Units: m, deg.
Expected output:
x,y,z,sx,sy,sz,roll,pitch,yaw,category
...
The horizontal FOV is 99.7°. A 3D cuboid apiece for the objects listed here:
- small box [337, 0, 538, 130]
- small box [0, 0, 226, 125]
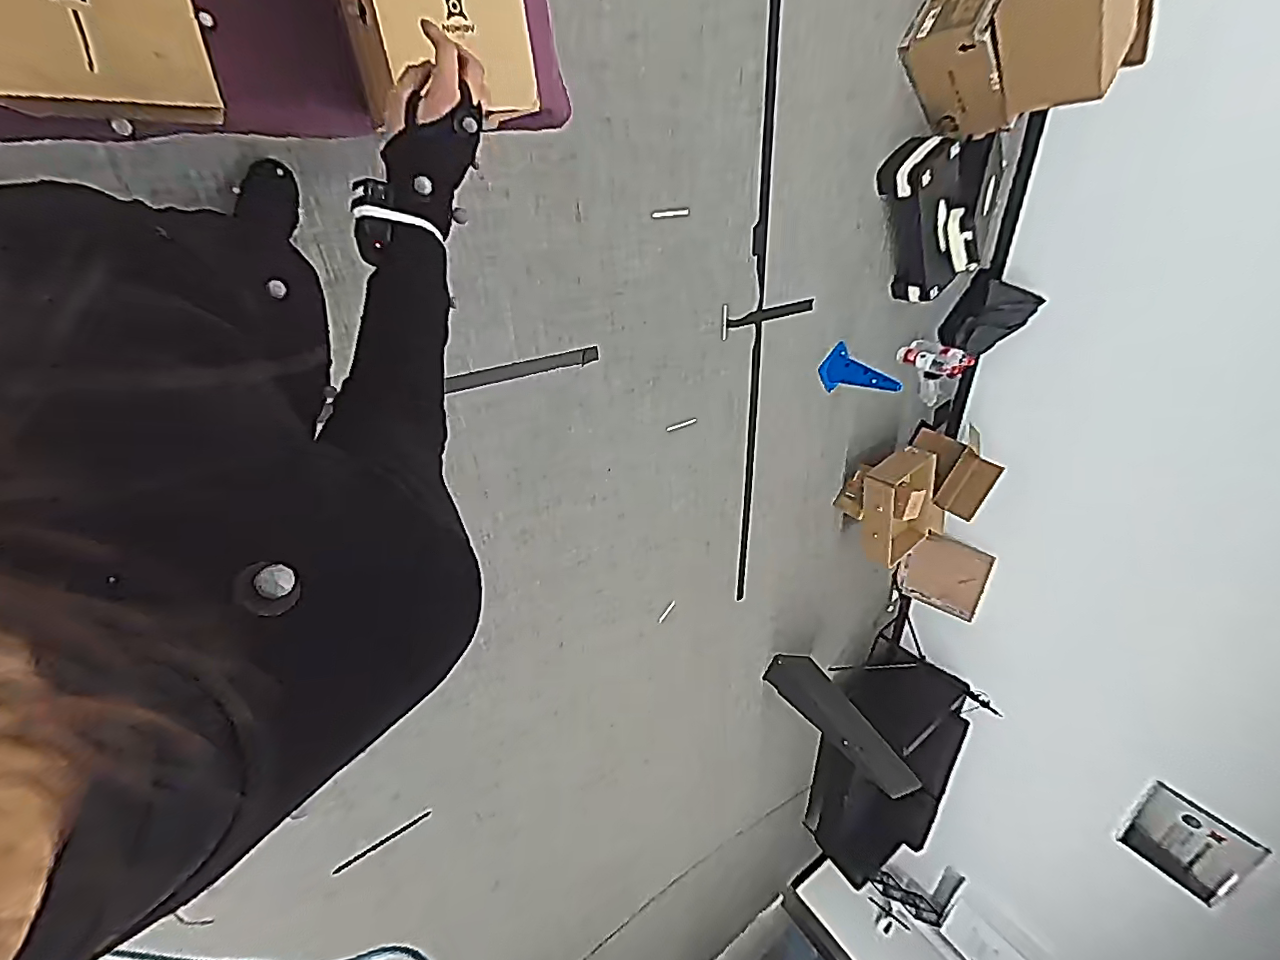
x,y,z,sx,sy,sz,roll,pitch,yaw,category
-0.241,-0.525,0.633,0.168,0.176,0.179,-23,126,-26,small box
-0.500,-0.431,0.482,0.168,0.176,0.179,-18,124,-30,small box
